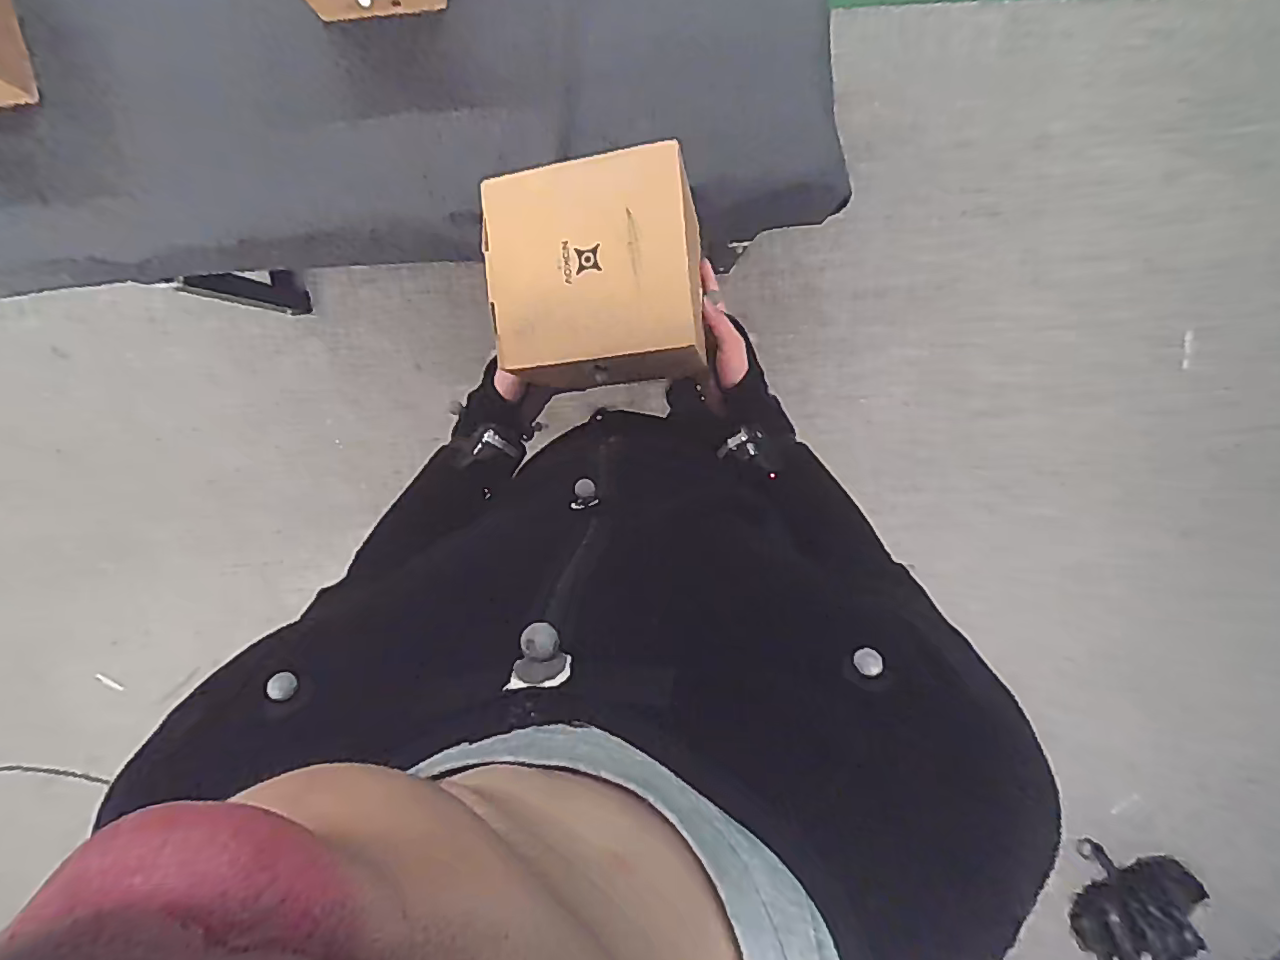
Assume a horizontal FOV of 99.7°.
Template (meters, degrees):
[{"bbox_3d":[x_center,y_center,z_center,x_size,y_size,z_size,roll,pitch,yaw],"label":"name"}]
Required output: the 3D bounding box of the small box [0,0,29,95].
[{"bbox_3d":[-0.879,-0.564,0.615,0.168,0.176,0.179,-8,101,-1],"label":"small box"}]

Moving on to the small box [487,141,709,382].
[{"bbox_3d":[-0.028,-0.196,0.541,0.179,0.176,0.168,-6,93,10],"label":"small box"}]

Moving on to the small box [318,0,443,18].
[{"bbox_3d":[-0.338,-0.678,0.610,0.168,0.176,0.179,-6,101,0],"label":"small box"}]
